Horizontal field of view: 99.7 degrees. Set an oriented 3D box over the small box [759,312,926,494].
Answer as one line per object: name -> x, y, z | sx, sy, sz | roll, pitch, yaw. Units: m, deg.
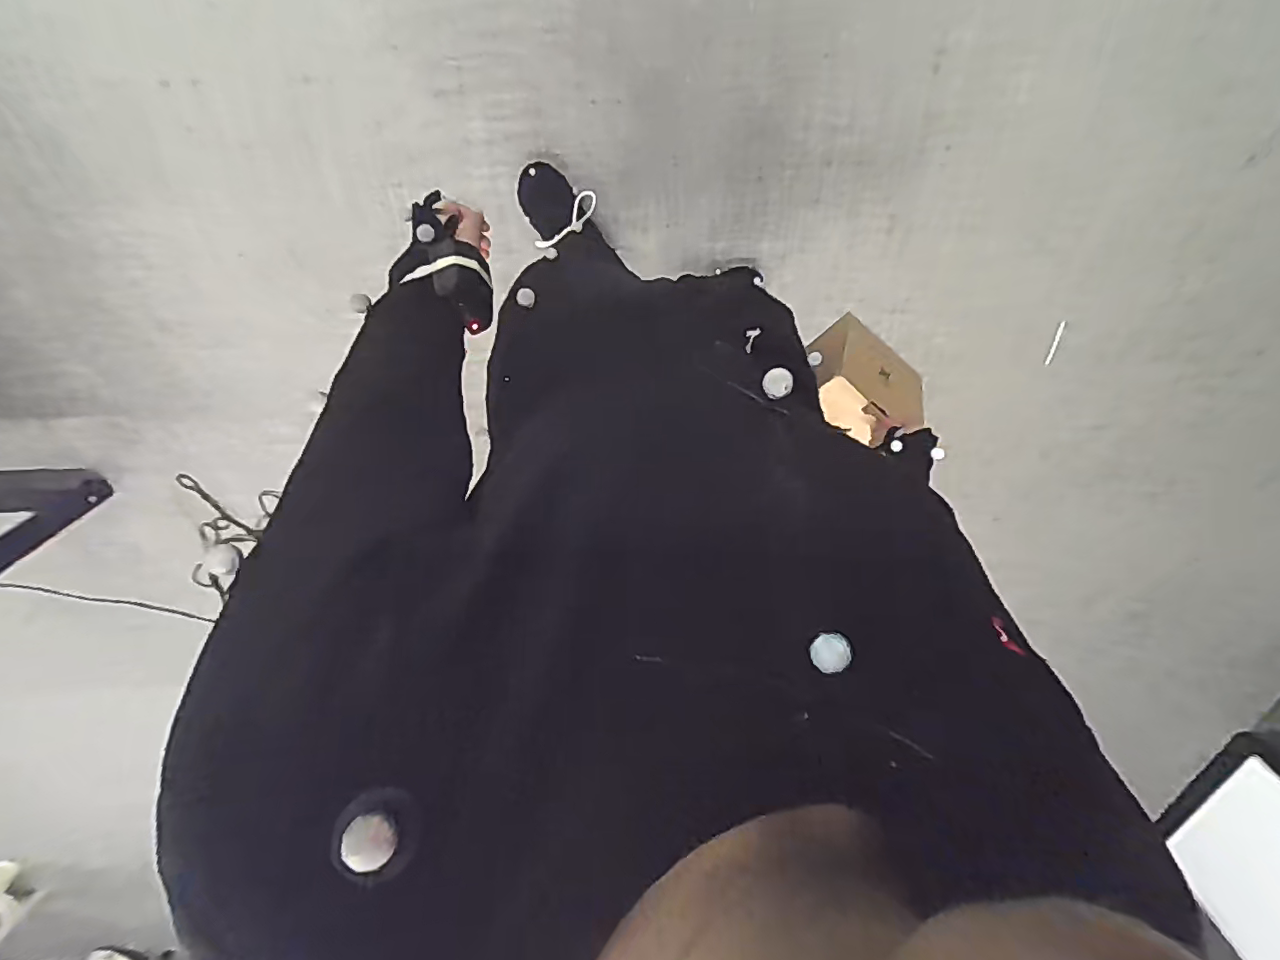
small box -> 0.302, -0.109, 0.820 | 0.168, 0.179, 0.176 | 36, 137, -12
